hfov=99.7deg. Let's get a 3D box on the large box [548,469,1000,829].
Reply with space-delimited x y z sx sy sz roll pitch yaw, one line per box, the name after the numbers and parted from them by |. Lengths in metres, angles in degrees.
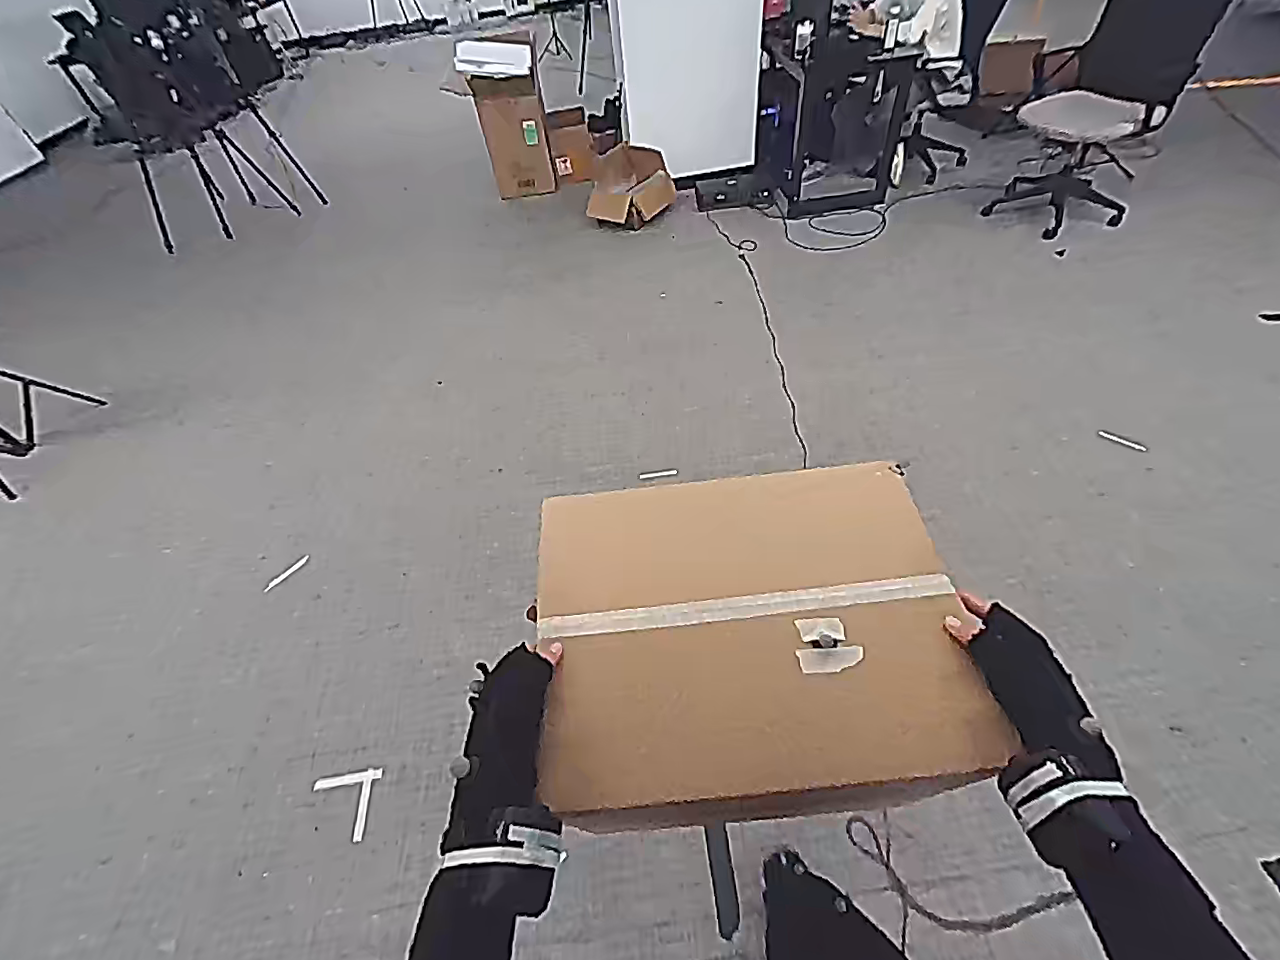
0.112 0.220 0.672 0.408 0.320 0.320 -7 55 0 | large box
